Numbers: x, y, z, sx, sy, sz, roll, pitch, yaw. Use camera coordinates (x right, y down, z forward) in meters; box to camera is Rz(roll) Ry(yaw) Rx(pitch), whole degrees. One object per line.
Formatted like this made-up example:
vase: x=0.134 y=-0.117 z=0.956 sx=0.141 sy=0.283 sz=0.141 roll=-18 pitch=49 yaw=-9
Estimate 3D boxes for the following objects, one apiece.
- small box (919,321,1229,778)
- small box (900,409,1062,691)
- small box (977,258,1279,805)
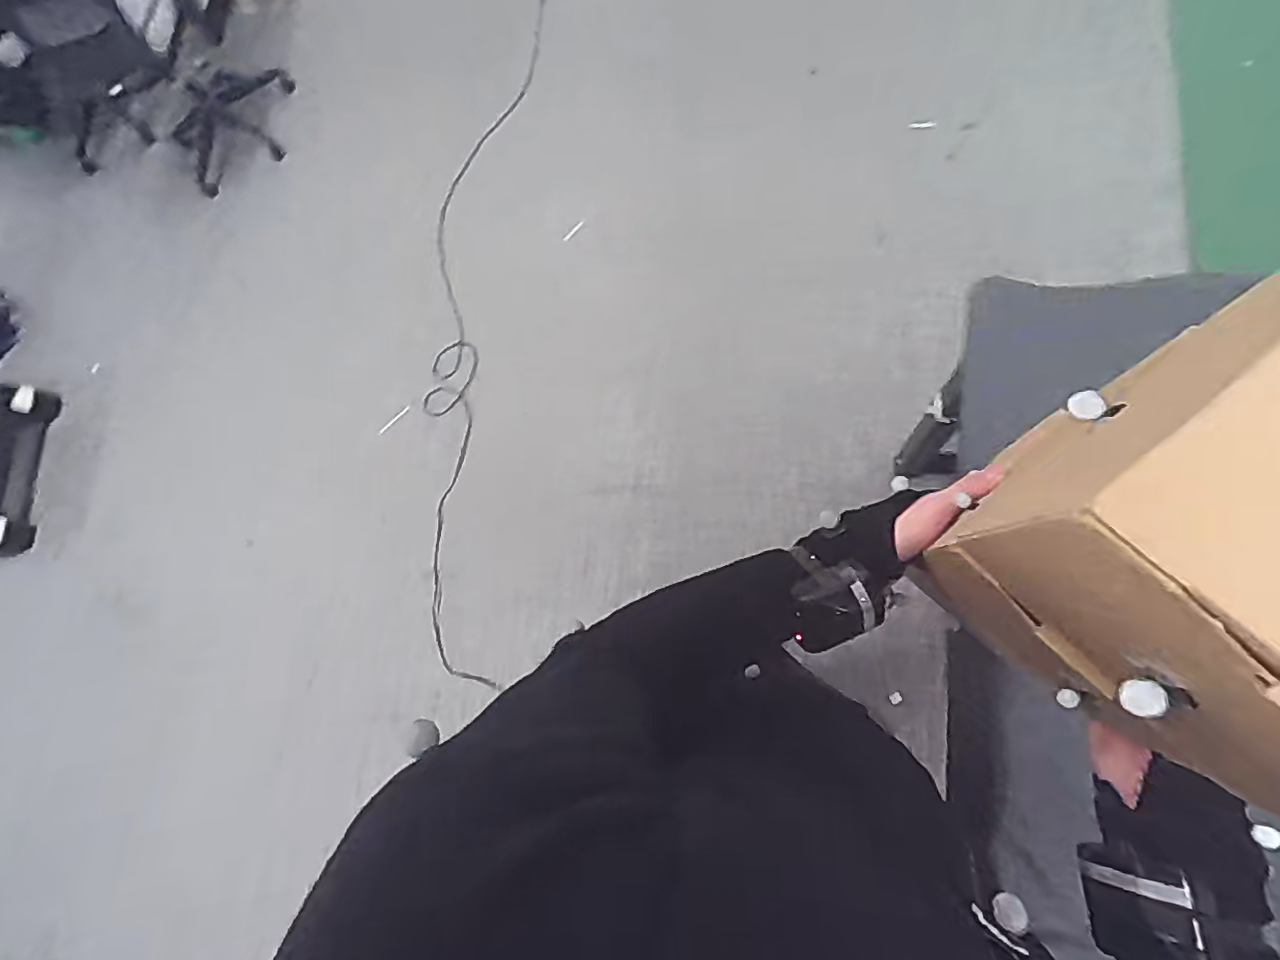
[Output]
small box: x=0.310 y=0.042 z=0.349 sx=0.179 sy=0.176 sz=0.168 roll=-46 pitch=70 yaw=5
small box: x=0.367 y=0.066 z=0.499 sx=0.168 sy=0.176 sz=0.179 roll=44 pitch=97 yaw=21
small box: x=0.259 y=0.017 z=0.195 sx=0.179 sy=0.176 sz=0.168 roll=-45 pitch=70 yaw=8
